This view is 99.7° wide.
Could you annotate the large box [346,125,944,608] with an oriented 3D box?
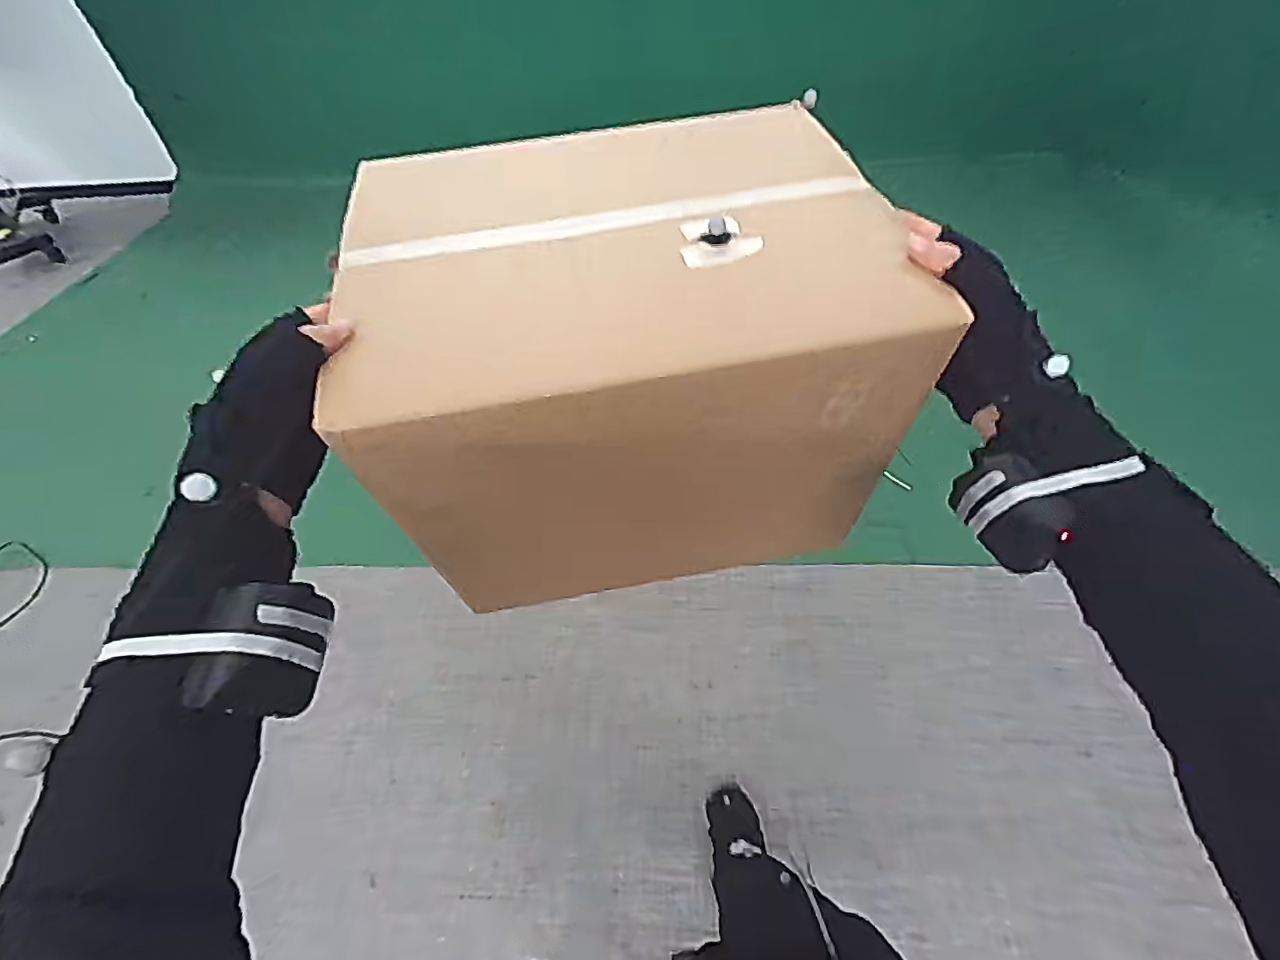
[{"bbox_3d":[-0.013,-0.103,0.549,0.408,0.320,0.320,-10,57,-5],"label":"large box"}]
